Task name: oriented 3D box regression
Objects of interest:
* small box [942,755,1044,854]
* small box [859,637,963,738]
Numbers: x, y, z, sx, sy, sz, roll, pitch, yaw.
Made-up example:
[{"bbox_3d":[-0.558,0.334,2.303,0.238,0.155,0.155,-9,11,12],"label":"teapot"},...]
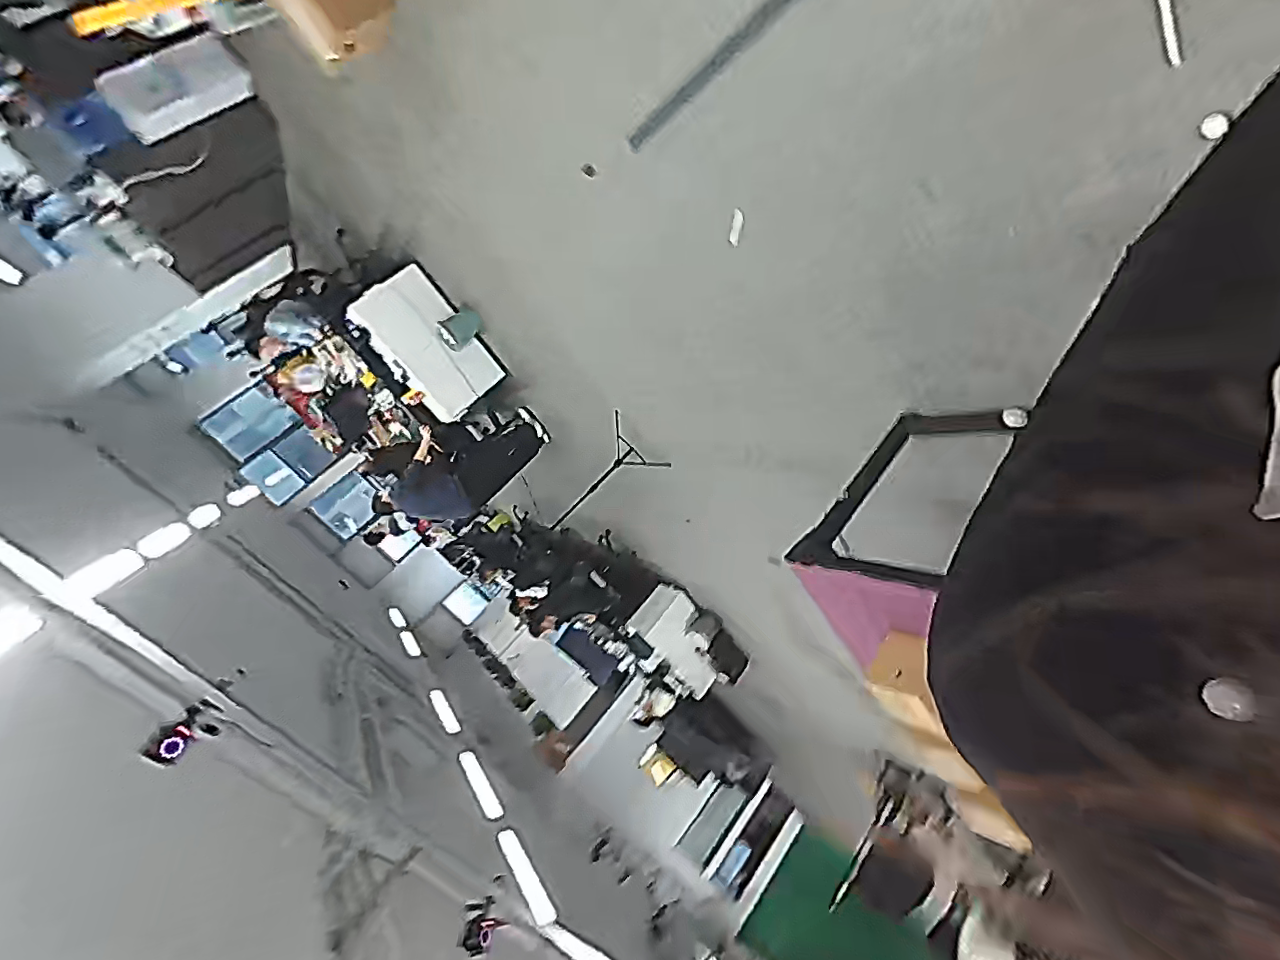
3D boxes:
[{"bbox_3d":[1.080,0.978,1.653,0.168,0.176,0.179,48,158,-10],"label":"small box"},{"bbox_3d":[0.743,0.553,1.468,0.168,0.176,0.179,51,158,-16],"label":"small box"}]
